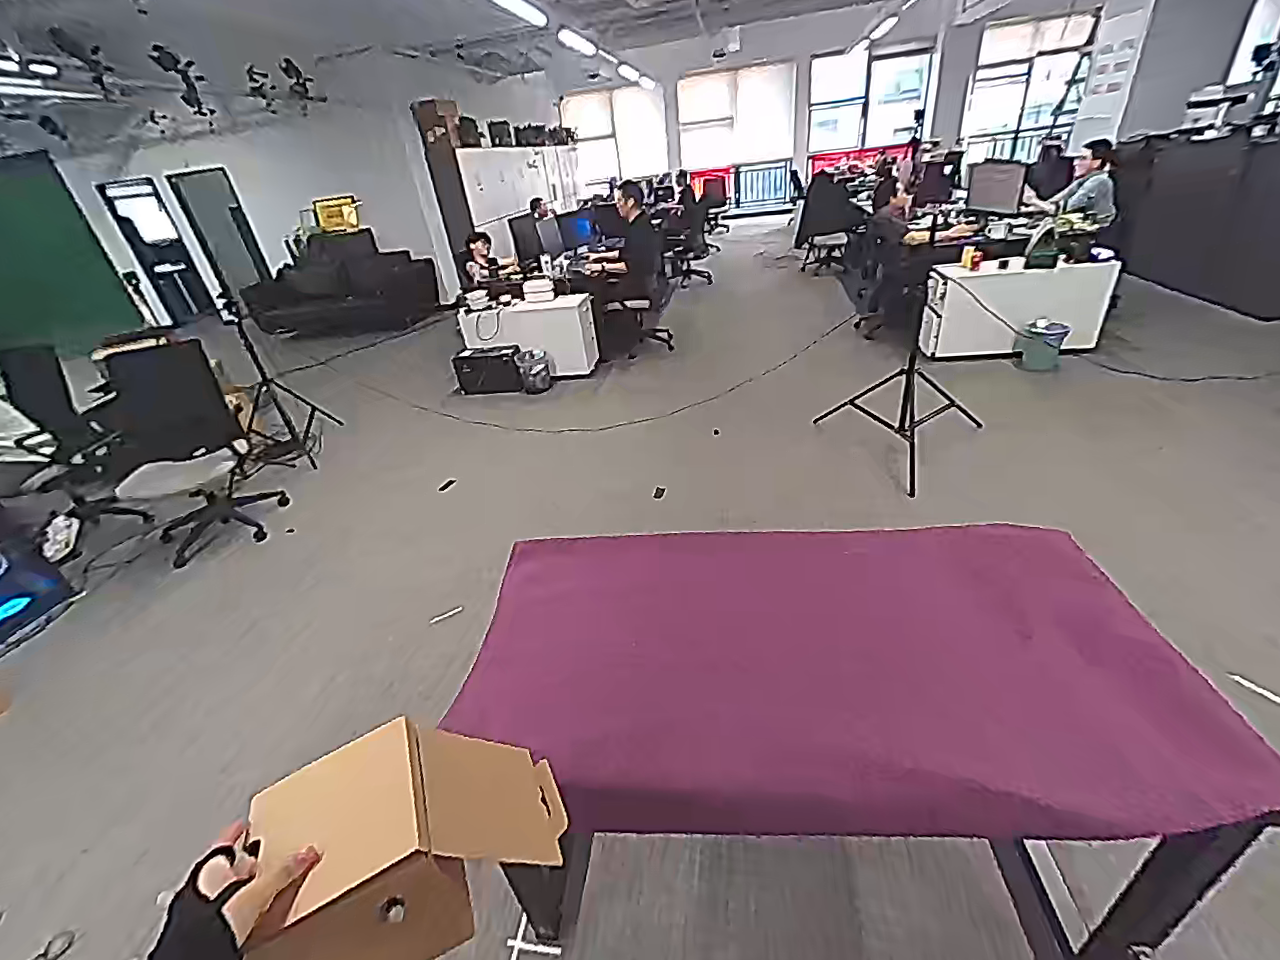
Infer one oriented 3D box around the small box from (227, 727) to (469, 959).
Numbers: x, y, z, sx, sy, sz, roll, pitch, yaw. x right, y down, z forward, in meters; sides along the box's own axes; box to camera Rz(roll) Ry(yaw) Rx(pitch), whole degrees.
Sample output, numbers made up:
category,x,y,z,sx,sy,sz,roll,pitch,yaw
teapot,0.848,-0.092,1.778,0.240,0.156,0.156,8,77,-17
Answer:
category,x,y,z,sx,sy,sz,roll,pitch,yaw
small box,-0.299,0.420,0.592,0.179,0.176,0.168,-20,30,-18
